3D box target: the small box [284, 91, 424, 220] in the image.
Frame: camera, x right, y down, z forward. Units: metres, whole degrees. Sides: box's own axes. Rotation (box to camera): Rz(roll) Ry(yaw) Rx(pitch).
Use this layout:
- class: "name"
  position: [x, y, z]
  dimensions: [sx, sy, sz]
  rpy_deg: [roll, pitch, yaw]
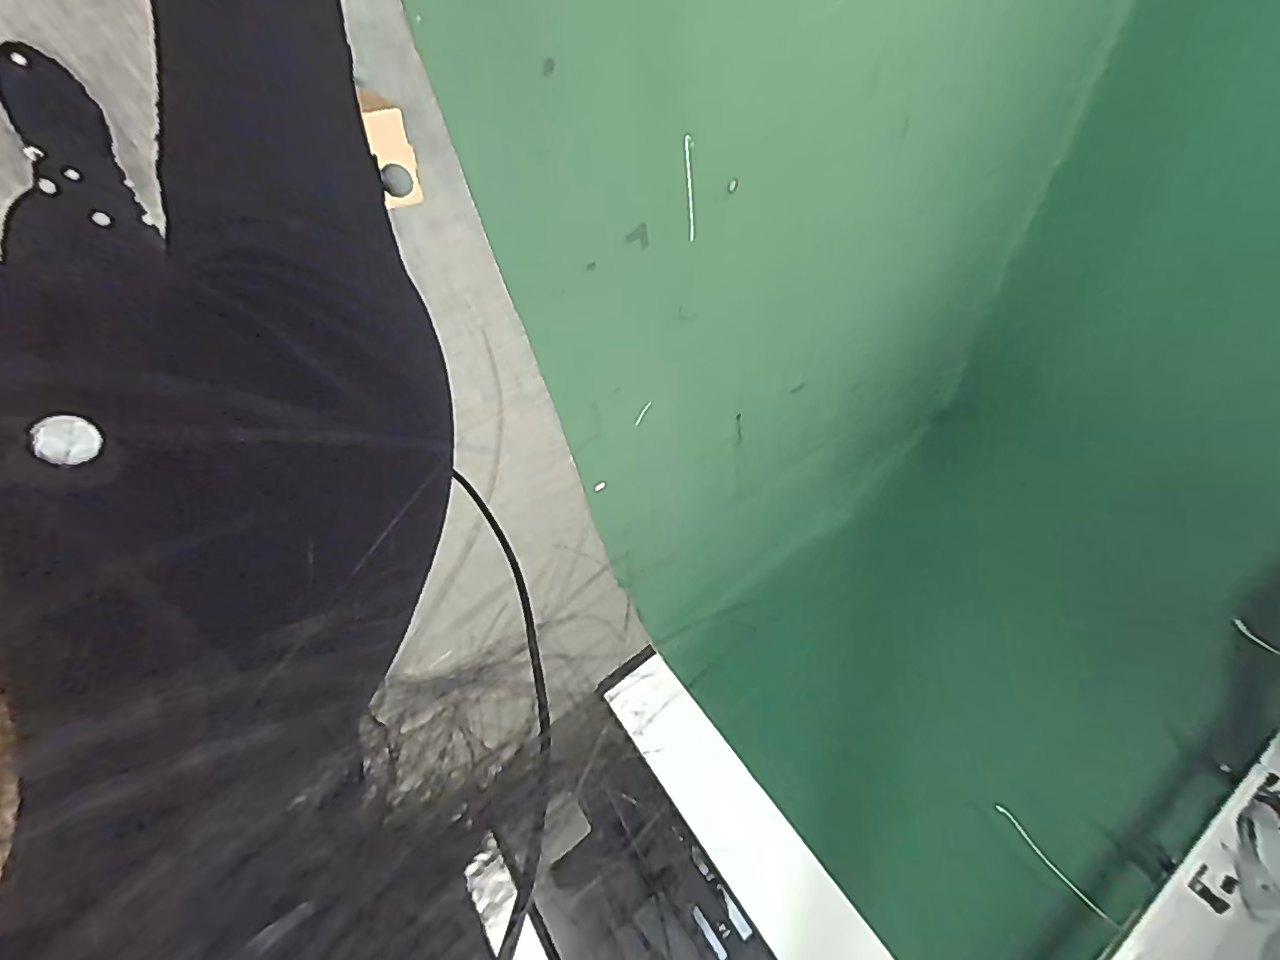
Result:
- class: "small box"
  position: [-0.556, -0.641, 1.060]
  dimensions: [0.179, 0.176, 0.168]
  rpy_deg: [-27, 143, -23]
